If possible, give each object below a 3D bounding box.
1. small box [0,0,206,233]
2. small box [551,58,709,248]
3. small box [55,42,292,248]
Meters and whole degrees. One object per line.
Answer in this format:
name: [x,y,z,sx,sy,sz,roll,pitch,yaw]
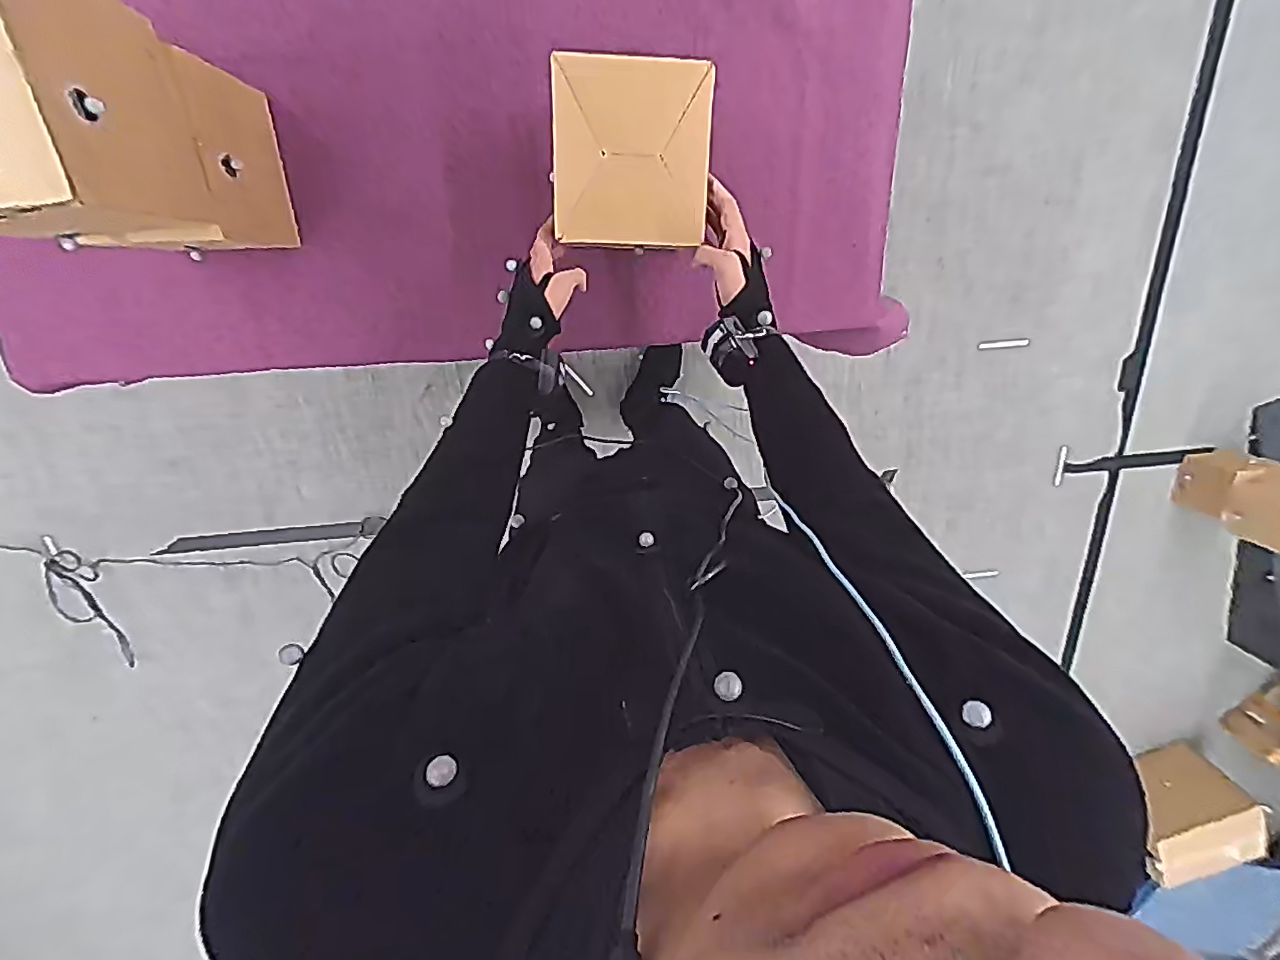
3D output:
small box: [-0.521,-0.309,0.452,0.168,0.176,0.179,-7,111,-3]
small box: [-0.016,-0.376,0.646,0.168,0.176,0.179,0,111,-4]
small box: [-0.530,-0.358,0.609,0.168,0.176,0.179,-3,111,-5]
